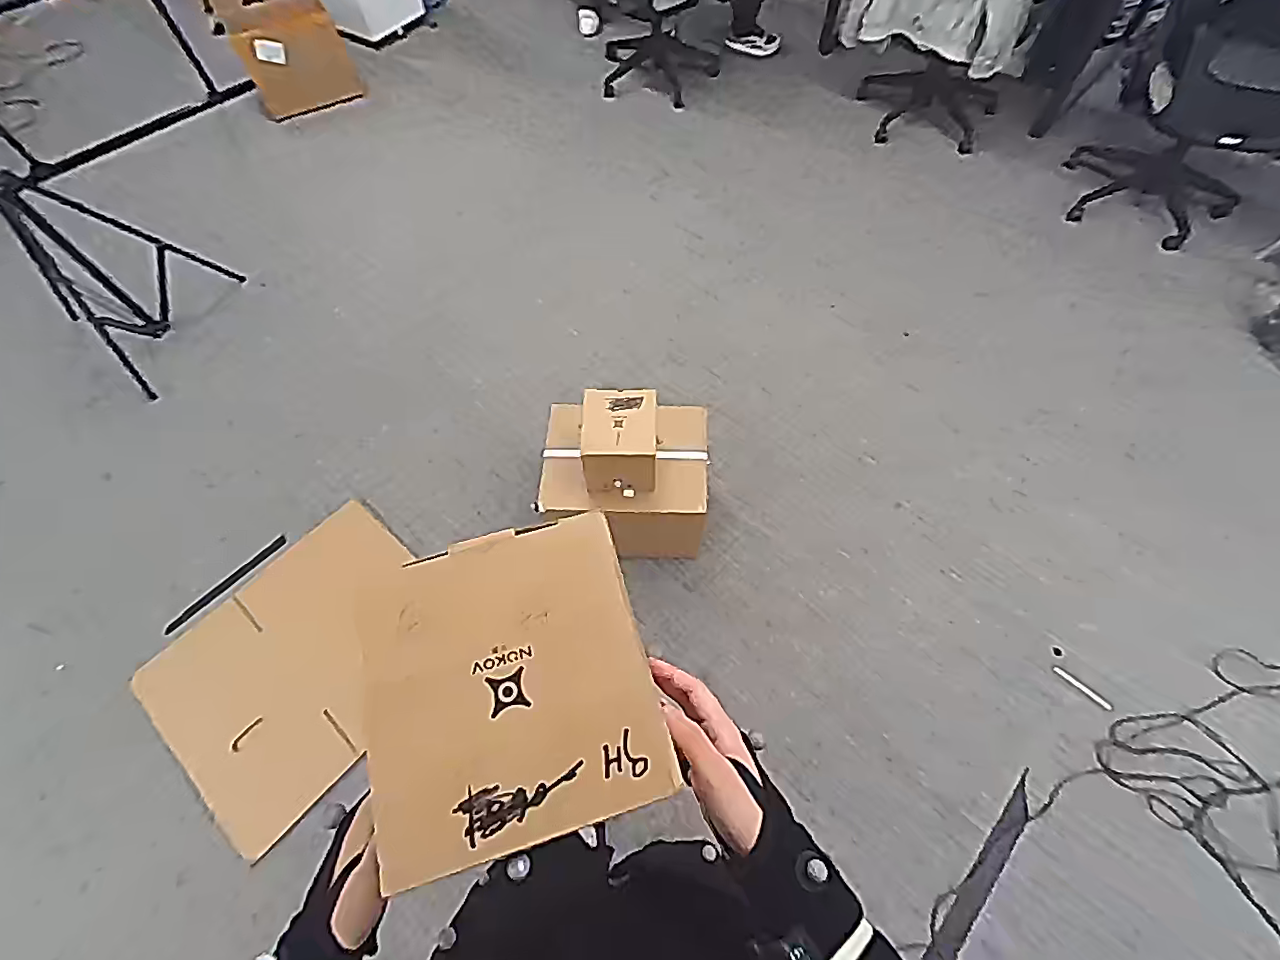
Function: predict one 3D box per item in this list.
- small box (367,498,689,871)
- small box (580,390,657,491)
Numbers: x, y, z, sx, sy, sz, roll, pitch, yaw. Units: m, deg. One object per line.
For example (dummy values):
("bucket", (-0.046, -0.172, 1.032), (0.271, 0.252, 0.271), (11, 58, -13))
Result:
("small box", (-0.072, 0.141, 0.391), (0.168, 0.176, 0.179), (-16, 65, -5))
("small box", (-0.045, -0.089, 1.260), (0.168, 0.176, 0.179), (0, 62, 1))
